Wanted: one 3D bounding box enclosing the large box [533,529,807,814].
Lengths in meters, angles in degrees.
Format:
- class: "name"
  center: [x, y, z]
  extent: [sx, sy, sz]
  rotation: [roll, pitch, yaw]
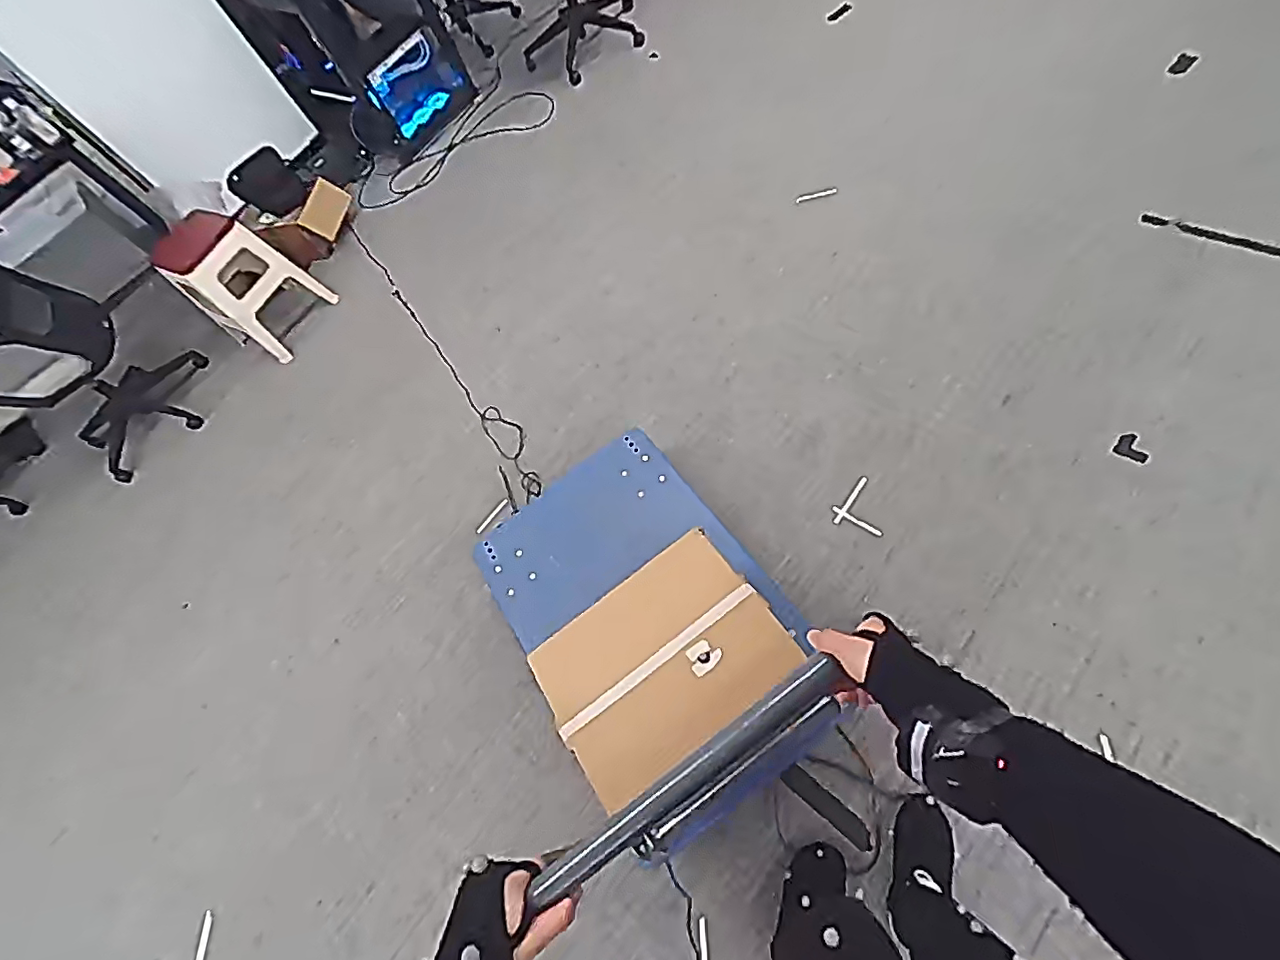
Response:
- class: "large box"
  center: [0.074, 0.378, 1.070]
  extent: [0.408, 0.320, 0.320]
  rotation: [-37, 60, -4]
